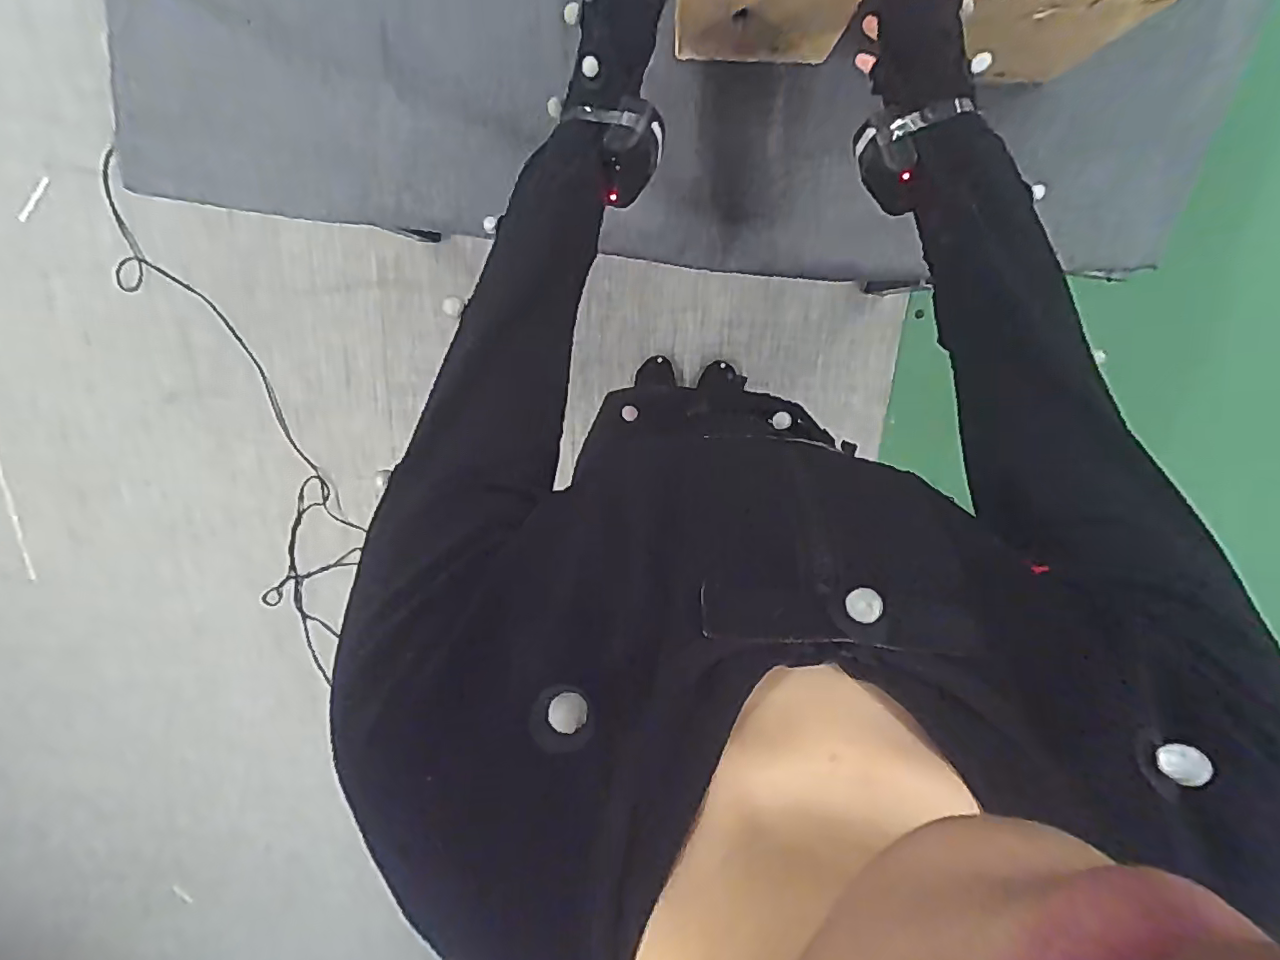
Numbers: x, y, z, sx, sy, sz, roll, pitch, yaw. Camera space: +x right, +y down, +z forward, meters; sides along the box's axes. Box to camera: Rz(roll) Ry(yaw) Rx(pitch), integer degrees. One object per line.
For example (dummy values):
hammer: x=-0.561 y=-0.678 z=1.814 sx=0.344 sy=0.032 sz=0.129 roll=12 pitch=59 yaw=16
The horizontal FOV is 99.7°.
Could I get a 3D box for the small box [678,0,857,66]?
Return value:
small box: x=0.123 y=-0.515 z=0.495 sx=0.168 sy=0.176 sz=0.179 roll=3 pitch=105 yaw=2
